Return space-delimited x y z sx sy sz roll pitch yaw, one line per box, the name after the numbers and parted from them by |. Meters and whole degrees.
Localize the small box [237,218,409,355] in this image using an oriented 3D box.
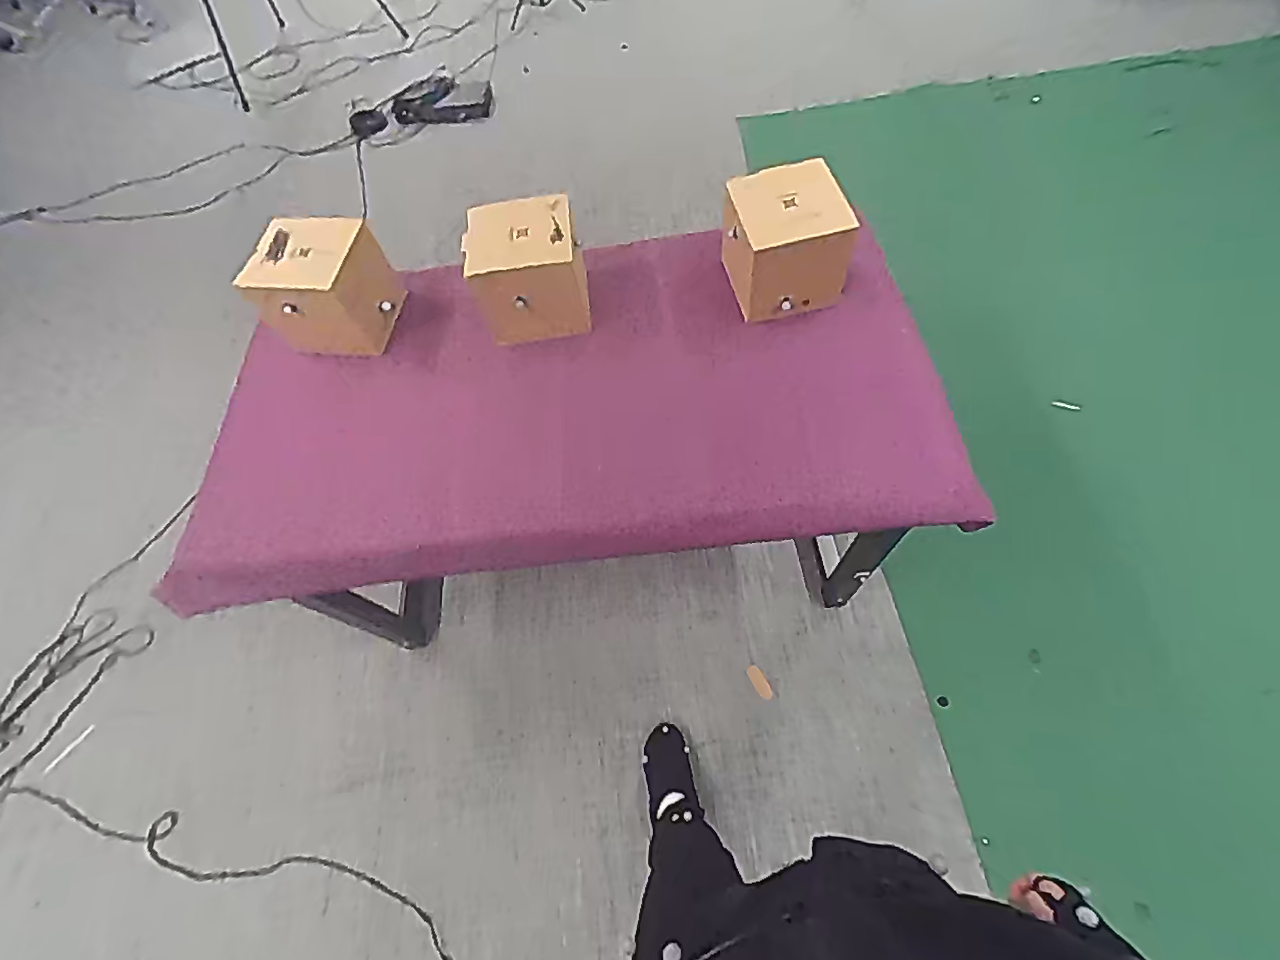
-0.554 -0.342 0.971 0.179 0.176 0.168 4 64 7 | small box

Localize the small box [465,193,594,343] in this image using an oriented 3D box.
-0.185 -0.361 0.944 0.179 0.176 0.168 -8 63 3 | small box

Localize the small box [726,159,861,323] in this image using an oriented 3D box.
0.246 -0.399 0.917 0.168 0.176 0.179 -12 63 2 | small box
